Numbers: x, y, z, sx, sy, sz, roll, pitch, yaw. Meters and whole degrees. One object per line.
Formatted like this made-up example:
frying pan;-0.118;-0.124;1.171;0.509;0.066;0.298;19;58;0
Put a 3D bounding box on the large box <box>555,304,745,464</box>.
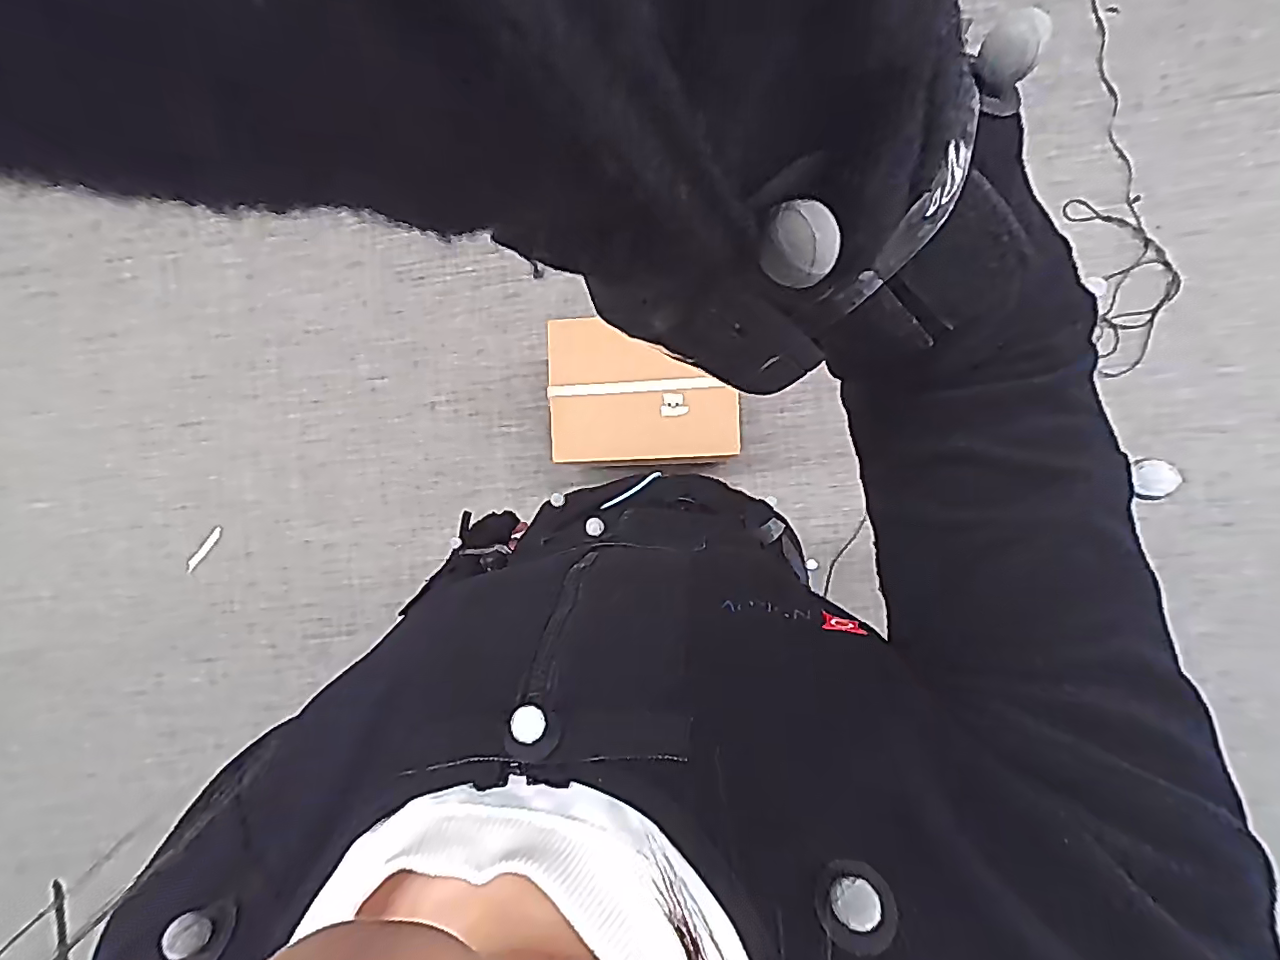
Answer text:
large box;0.028;-0.210;1.309;0.408;0.320;0.320;-2;90;4
